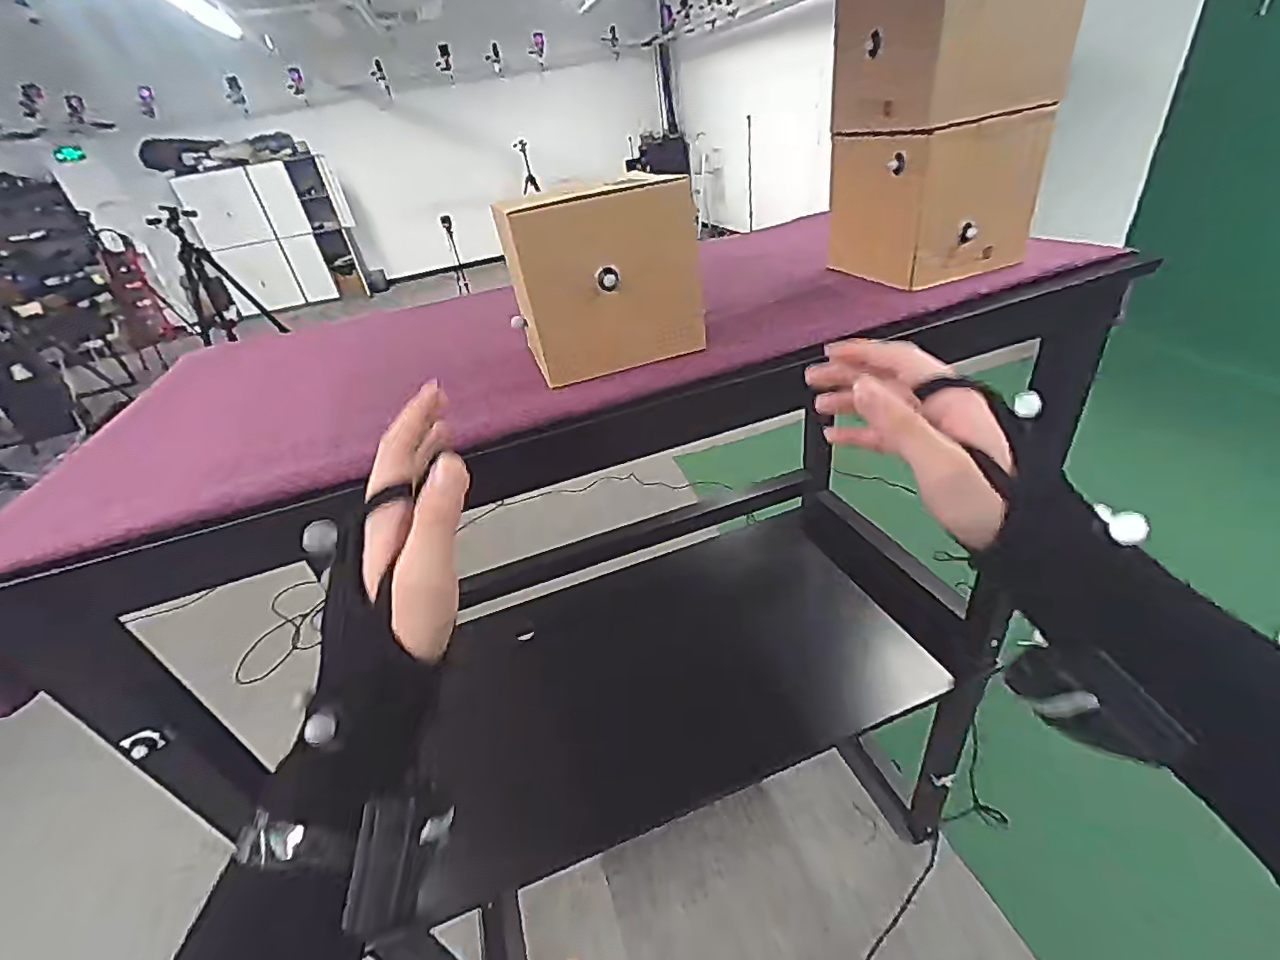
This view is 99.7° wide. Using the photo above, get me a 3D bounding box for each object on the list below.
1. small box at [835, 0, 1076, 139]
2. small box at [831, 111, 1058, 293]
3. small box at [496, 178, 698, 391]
[{"bbox_3d":[0.331,-0.475,0.579,0.179,0.176,0.168,-17,35,-10],"label":"small box"},{"bbox_3d":[0.358,-0.345,0.678,0.168,0.176,0.179,-17,35,-10],"label":"small box"},{"bbox_3d":[-0.044,-0.217,0.590,0.179,0.176,0.168,-17,33,-9],"label":"small box"}]
